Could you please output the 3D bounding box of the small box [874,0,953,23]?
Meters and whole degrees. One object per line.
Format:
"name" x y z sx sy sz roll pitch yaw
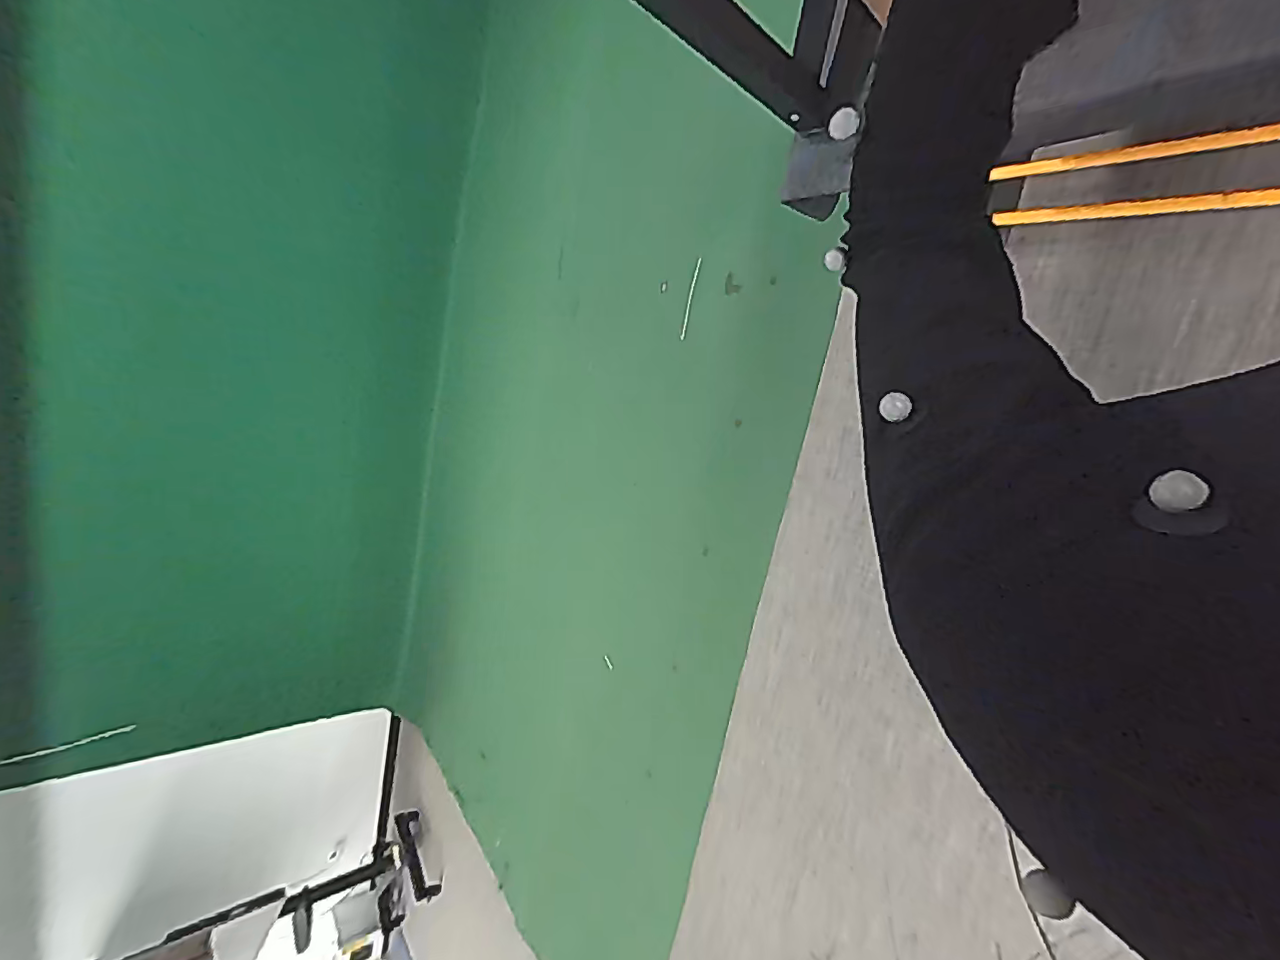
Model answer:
"small box" 0.382 -0.761 0.701 0.168 0.176 0.179 18 102 48
